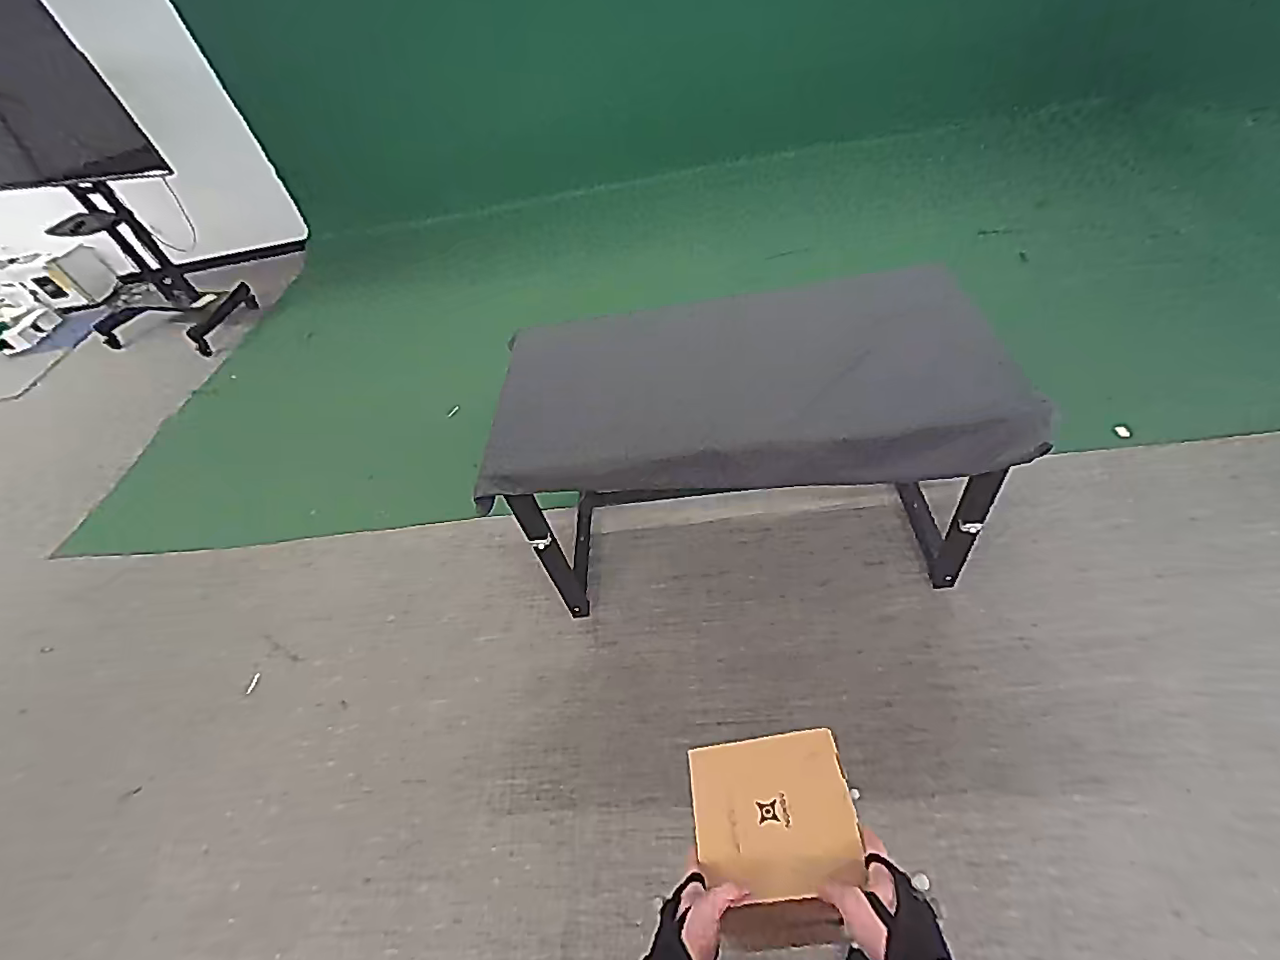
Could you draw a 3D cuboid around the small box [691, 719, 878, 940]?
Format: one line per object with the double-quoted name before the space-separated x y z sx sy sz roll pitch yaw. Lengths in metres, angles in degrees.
"small box" 0.166 0.411 0.637 0.179 0.176 0.168 -13 34 10
